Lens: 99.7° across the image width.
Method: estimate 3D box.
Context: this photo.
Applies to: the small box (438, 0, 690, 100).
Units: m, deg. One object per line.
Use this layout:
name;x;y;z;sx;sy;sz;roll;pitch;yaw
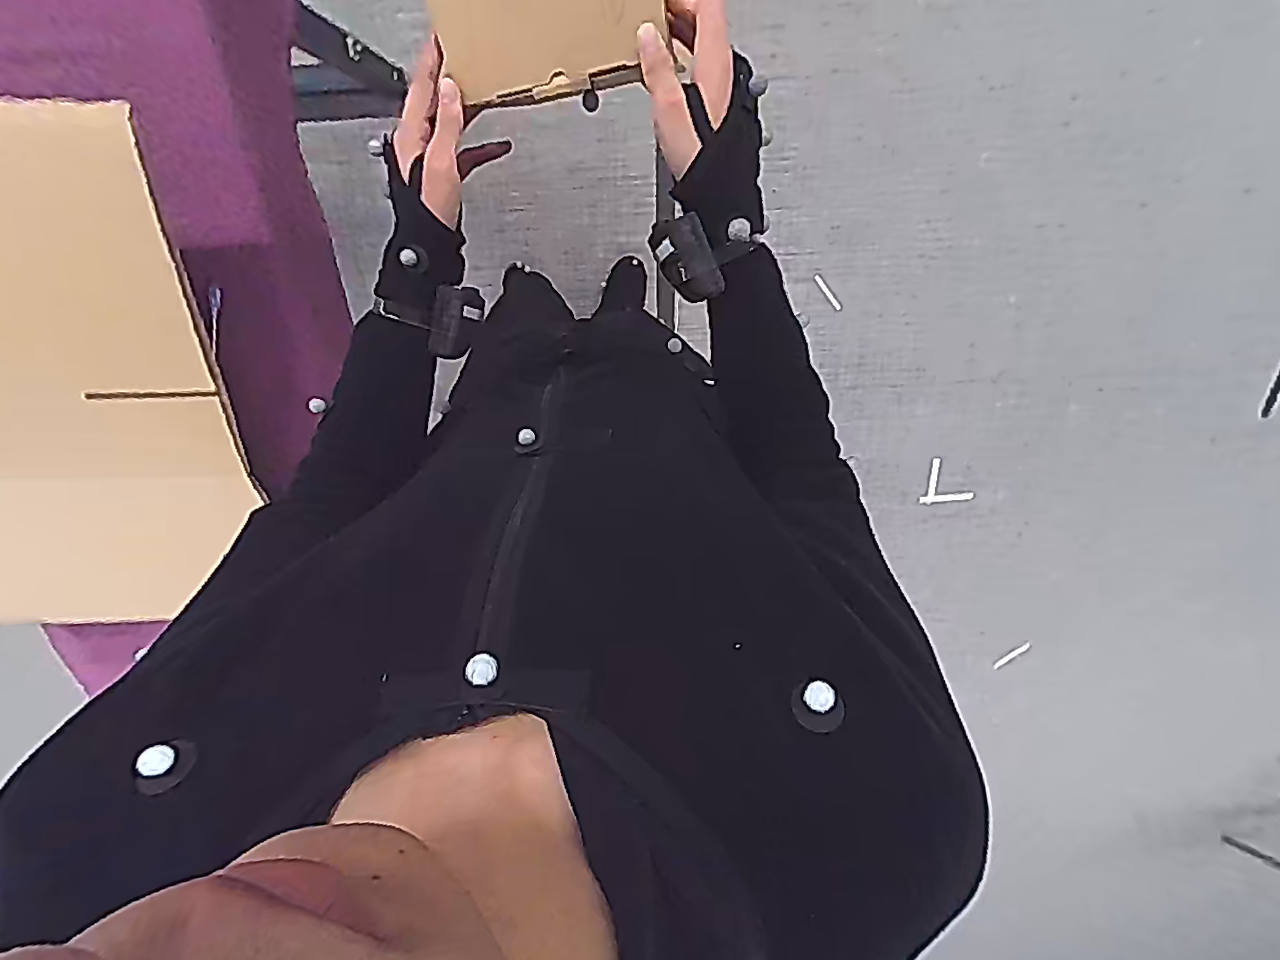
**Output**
small box;-0.055;-0.413;0.414;0.168;0.176;0.179;-2;125;12
